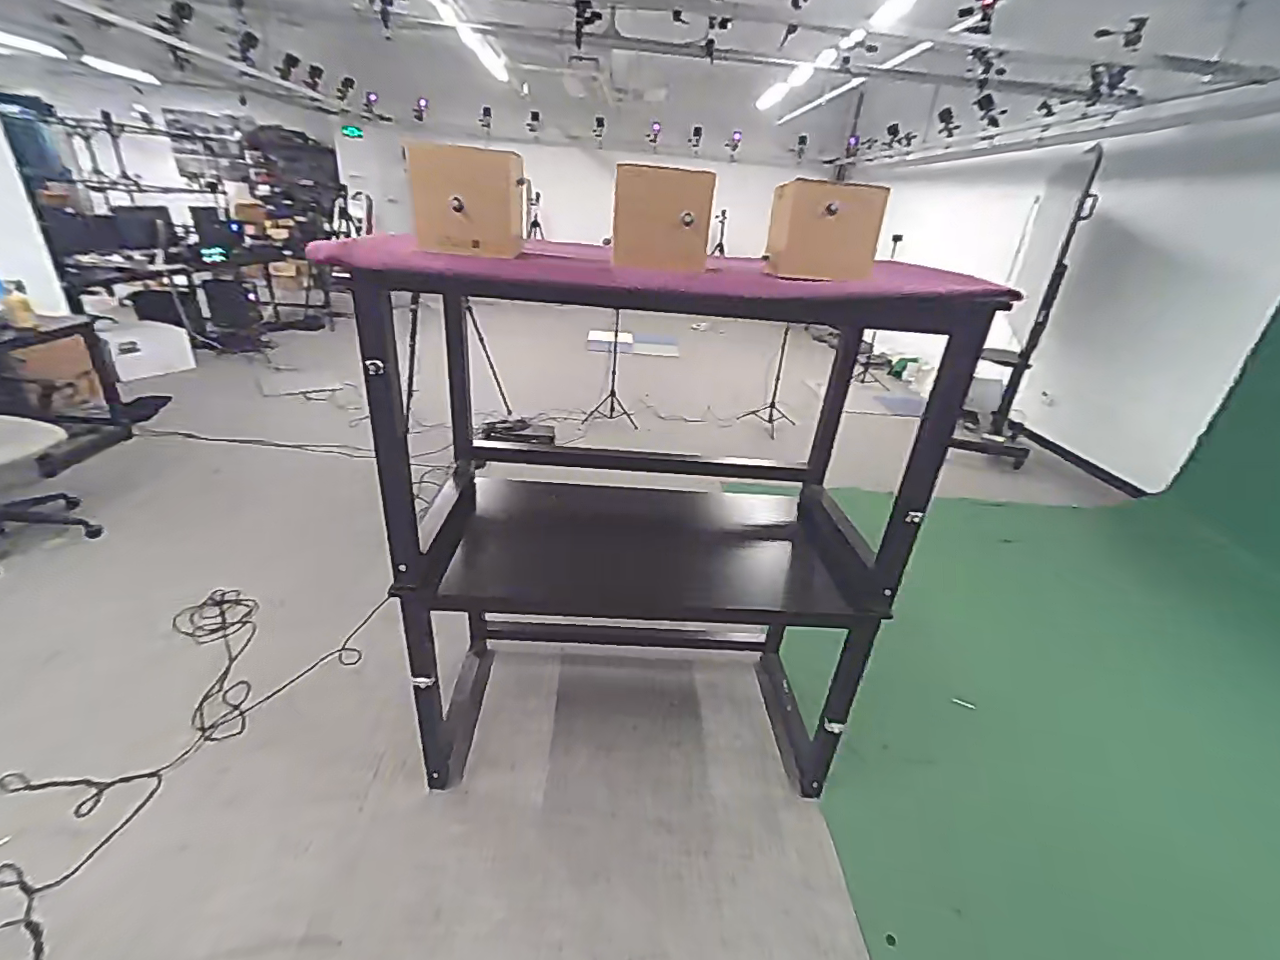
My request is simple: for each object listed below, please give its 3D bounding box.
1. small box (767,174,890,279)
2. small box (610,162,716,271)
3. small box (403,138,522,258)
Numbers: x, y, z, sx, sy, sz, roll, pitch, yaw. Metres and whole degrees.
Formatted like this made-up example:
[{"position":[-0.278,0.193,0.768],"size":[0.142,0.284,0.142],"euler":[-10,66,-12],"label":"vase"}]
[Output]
[{"position":[0.355,-0.490,1.061],"size":[0.179,0.176,0.168],"euler":[4,25,-2],"label":"small box"},{"position":[0.034,-0.492,1.019],"size":[0.179,0.176,0.168],"euler":[1,26,-5],"label":"small box"},{"position":[-0.305,-0.498,0.966],"size":[0.168,0.176,0.179],"euler":[3,27,-6],"label":"small box"}]
